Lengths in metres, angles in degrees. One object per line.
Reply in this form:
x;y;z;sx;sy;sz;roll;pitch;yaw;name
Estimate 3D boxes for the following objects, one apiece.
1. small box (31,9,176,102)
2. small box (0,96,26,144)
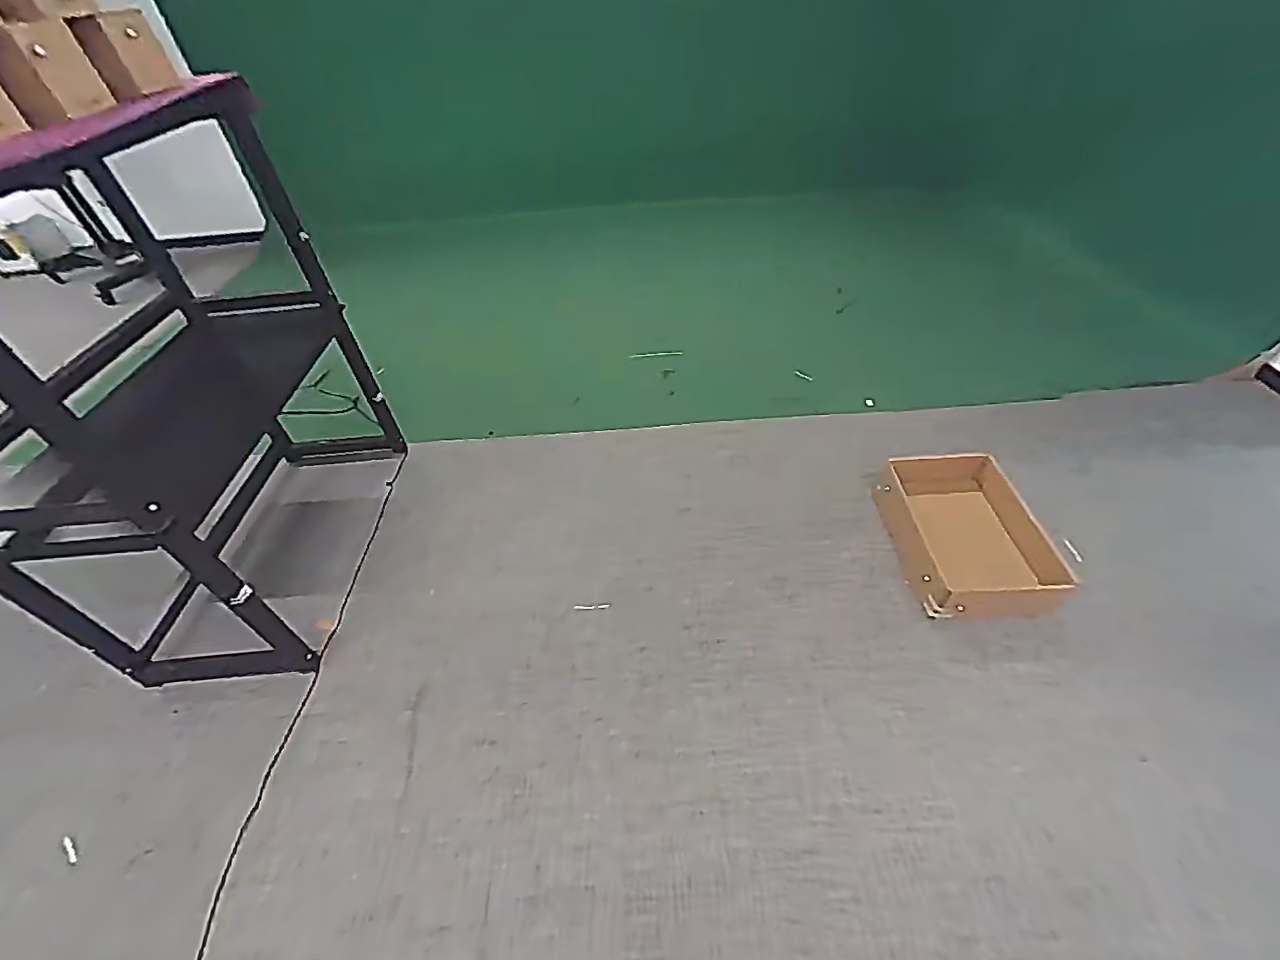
-1.377;-1.100;1.406;0.168;0.176;0.179;-5;44;1;small box
-1.349;-0.714;1.011;0.179;0.176;0.168;-4;43;3;small box
